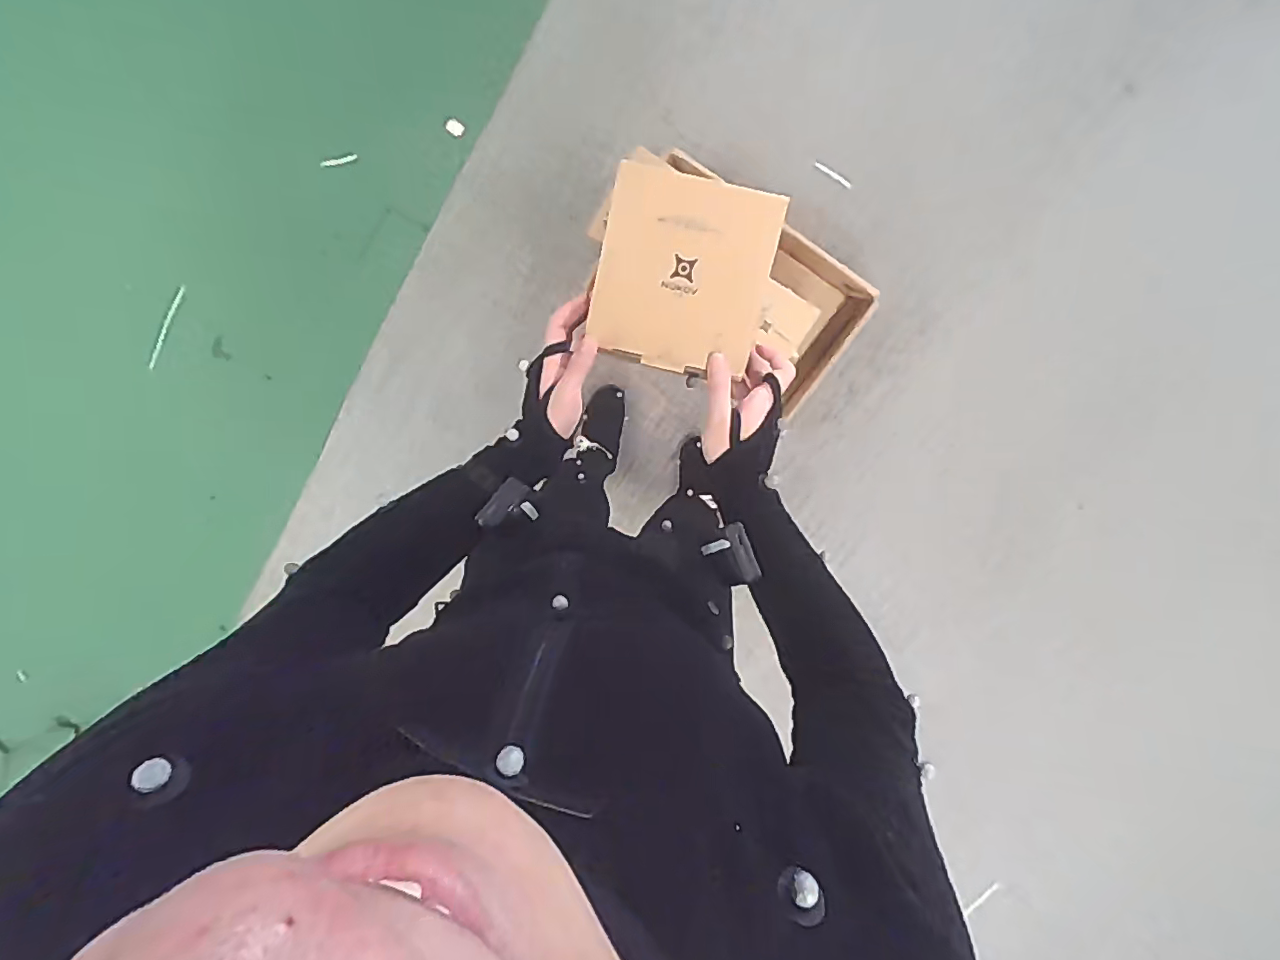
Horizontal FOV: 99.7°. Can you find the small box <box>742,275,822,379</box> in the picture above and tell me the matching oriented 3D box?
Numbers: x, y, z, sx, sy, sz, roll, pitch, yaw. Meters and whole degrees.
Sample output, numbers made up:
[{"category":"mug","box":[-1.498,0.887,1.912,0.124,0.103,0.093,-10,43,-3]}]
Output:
[{"category":"small box","box":[0.267,-0.335,1.191,0.179,0.176,0.168,34,104,2]}]

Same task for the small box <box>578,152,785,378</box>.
[{"category":"small box","box":[0.040,-0.214,0.590,0.168,0.176,0.179,13,99,-1]}]
